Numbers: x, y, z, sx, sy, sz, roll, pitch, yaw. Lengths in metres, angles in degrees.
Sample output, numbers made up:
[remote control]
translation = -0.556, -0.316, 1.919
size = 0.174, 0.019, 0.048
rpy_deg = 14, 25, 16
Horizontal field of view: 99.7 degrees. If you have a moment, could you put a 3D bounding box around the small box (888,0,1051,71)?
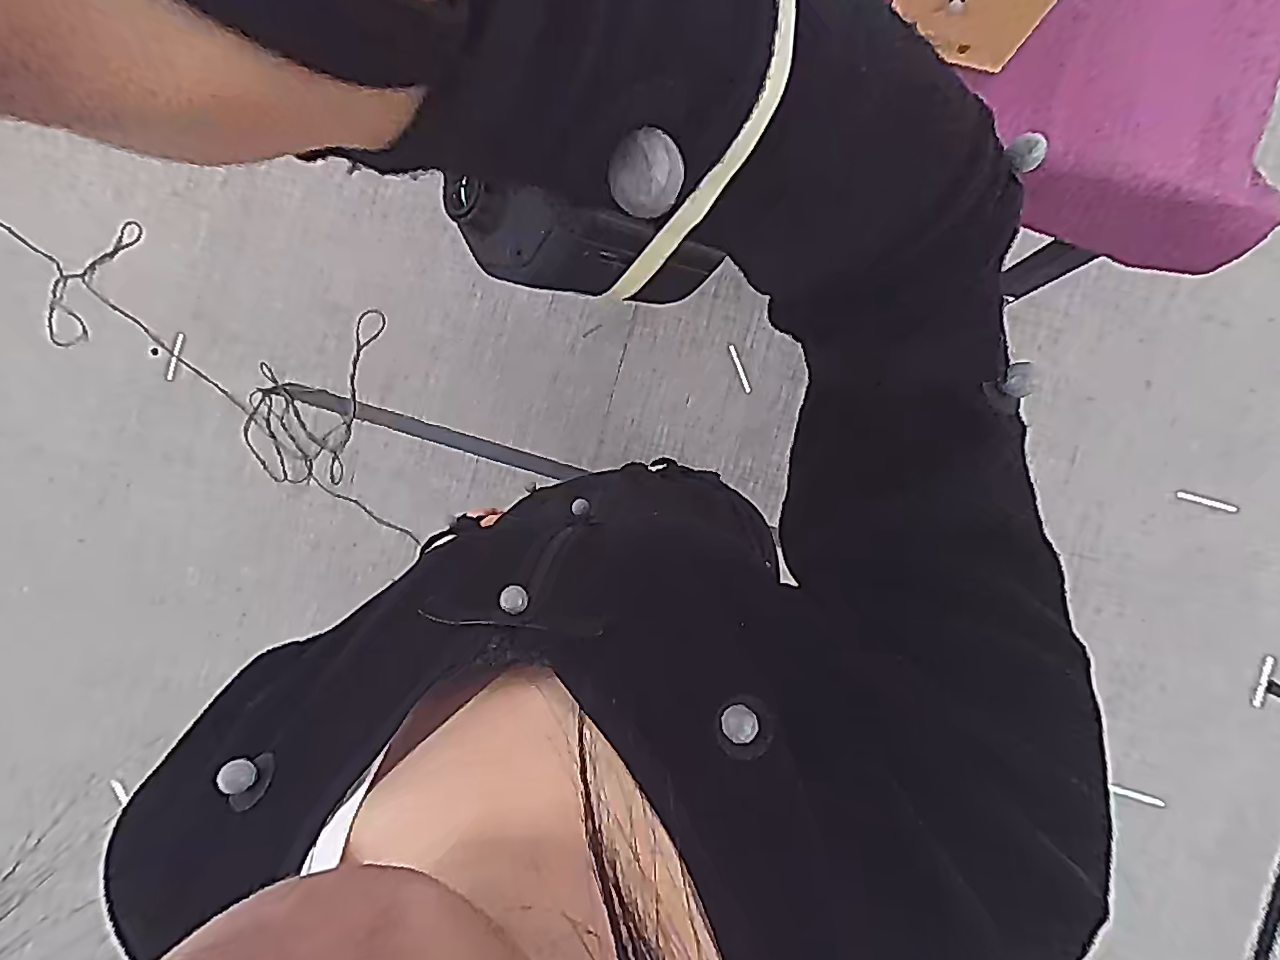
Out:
[small box]
translation = 0.433, -0.660, 0.668
size = 0.168, 0.176, 0.179
rpy_deg = 16, 90, 3
